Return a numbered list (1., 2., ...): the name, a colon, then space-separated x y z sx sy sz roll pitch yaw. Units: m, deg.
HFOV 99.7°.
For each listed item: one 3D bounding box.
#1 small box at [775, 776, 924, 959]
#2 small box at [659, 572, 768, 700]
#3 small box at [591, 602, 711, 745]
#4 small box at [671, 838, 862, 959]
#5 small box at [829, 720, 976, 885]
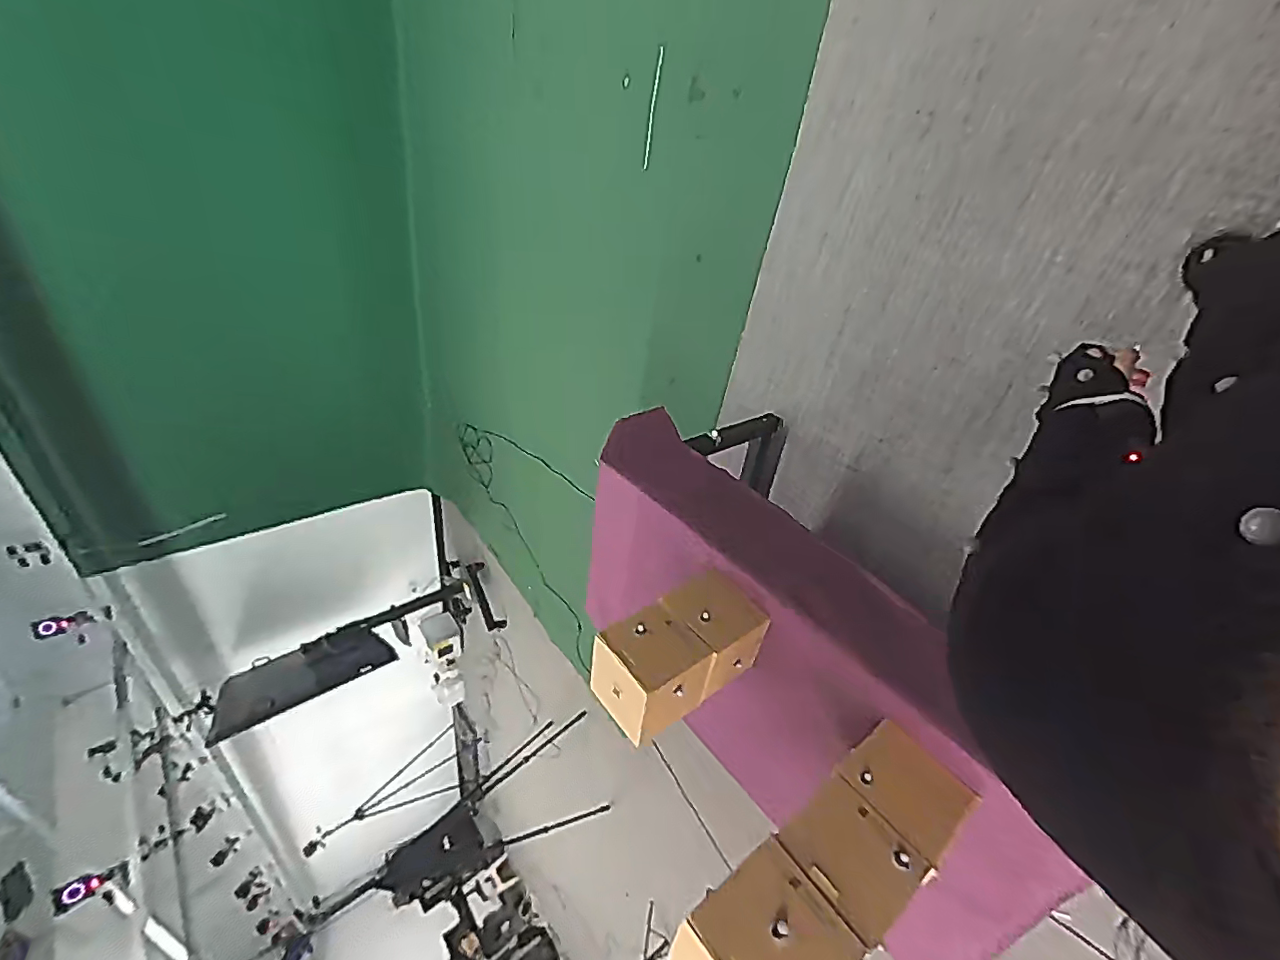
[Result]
1. small box: 0.298 0.598 0.824 0.168 0.176 0.179 39 136 38
2. small box: 0.148 0.329 1.175 0.179 0.176 0.168 40 134 35
3. small box: 0.021 0.379 1.084 0.168 0.176 0.179 38 135 37
4. small box: 0.169 0.635 0.729 0.168 0.176 0.179 40 134 38
5. small box: 0.426 0.552 0.916 0.179 0.176 0.168 39 134 37
